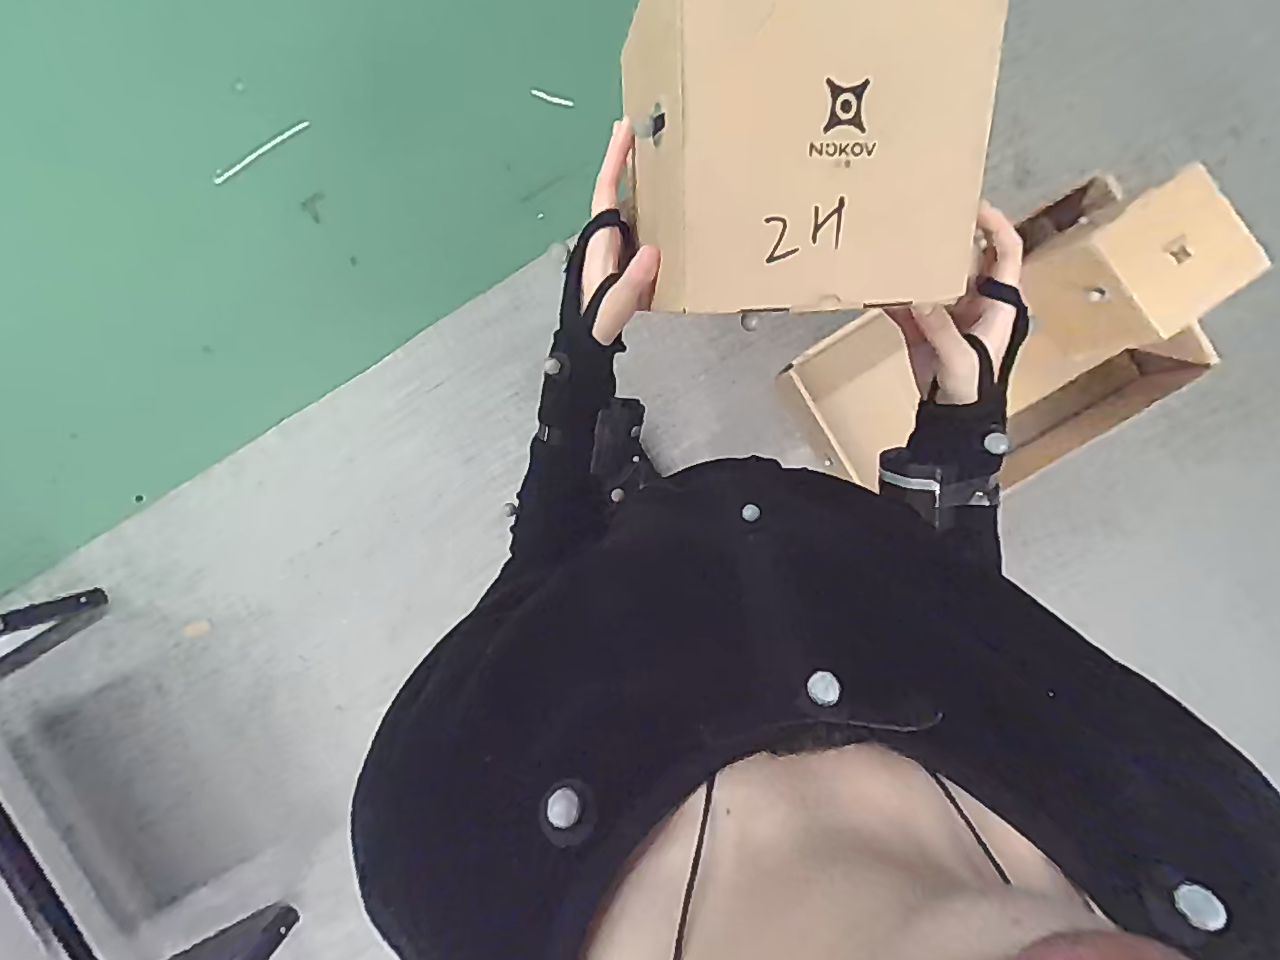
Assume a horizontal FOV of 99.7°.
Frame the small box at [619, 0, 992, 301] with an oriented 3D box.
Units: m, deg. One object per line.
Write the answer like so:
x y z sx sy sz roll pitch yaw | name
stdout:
0.080 -0.209 0.345 0.168 0.176 0.179 -5 109 -9 | small box

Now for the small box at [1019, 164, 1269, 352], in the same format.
0.724 -0.308 0.800 0.168 0.176 0.179 -36 90 5 | small box
